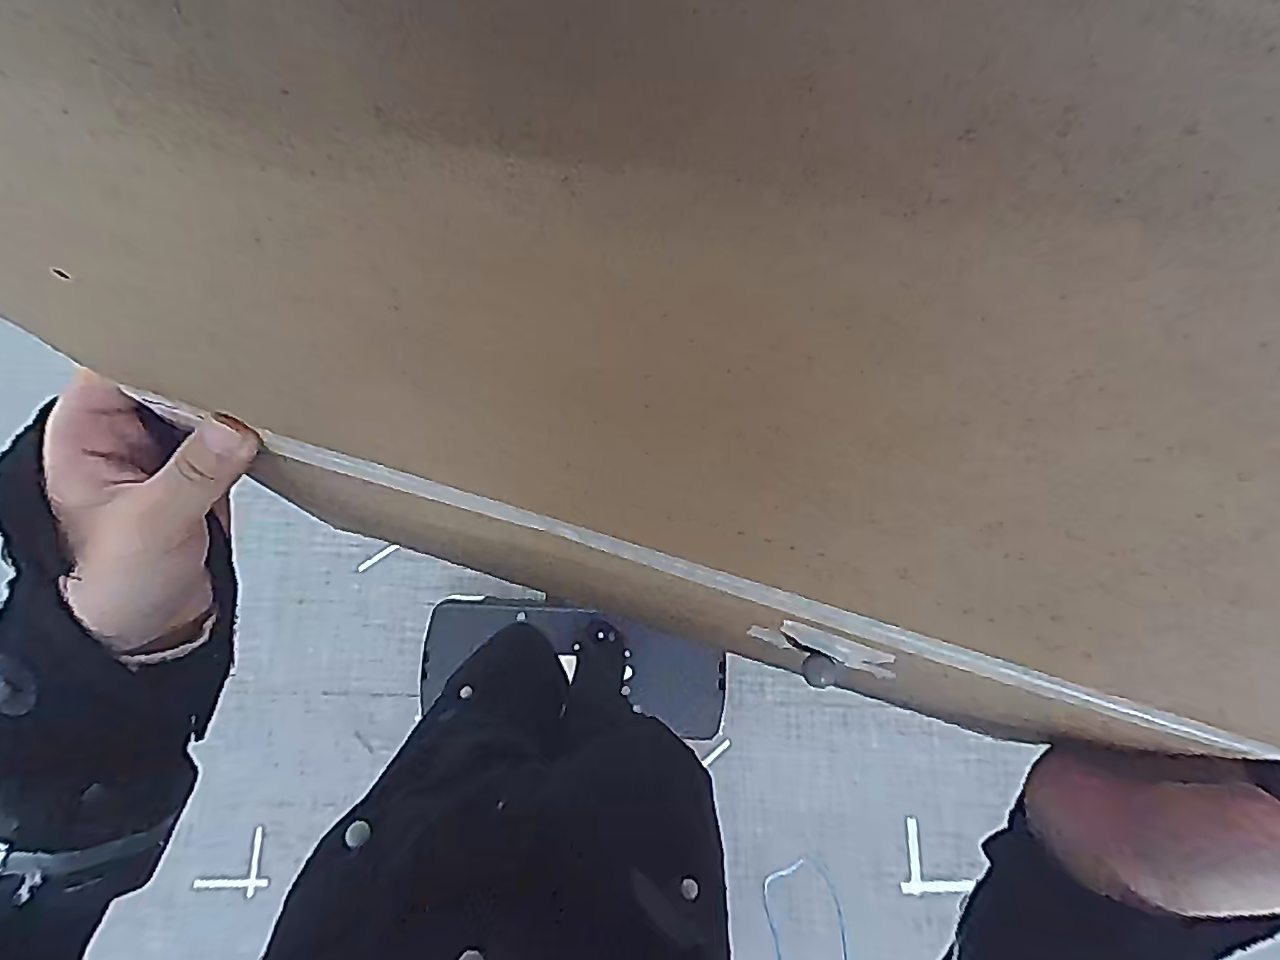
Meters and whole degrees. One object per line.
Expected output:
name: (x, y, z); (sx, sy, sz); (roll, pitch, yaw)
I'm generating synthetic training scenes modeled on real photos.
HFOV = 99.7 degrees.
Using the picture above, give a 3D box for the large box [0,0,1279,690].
large box: (0.065, -0.135, 0.228); (0.408, 0.320, 0.320); (16, 68, 5)
